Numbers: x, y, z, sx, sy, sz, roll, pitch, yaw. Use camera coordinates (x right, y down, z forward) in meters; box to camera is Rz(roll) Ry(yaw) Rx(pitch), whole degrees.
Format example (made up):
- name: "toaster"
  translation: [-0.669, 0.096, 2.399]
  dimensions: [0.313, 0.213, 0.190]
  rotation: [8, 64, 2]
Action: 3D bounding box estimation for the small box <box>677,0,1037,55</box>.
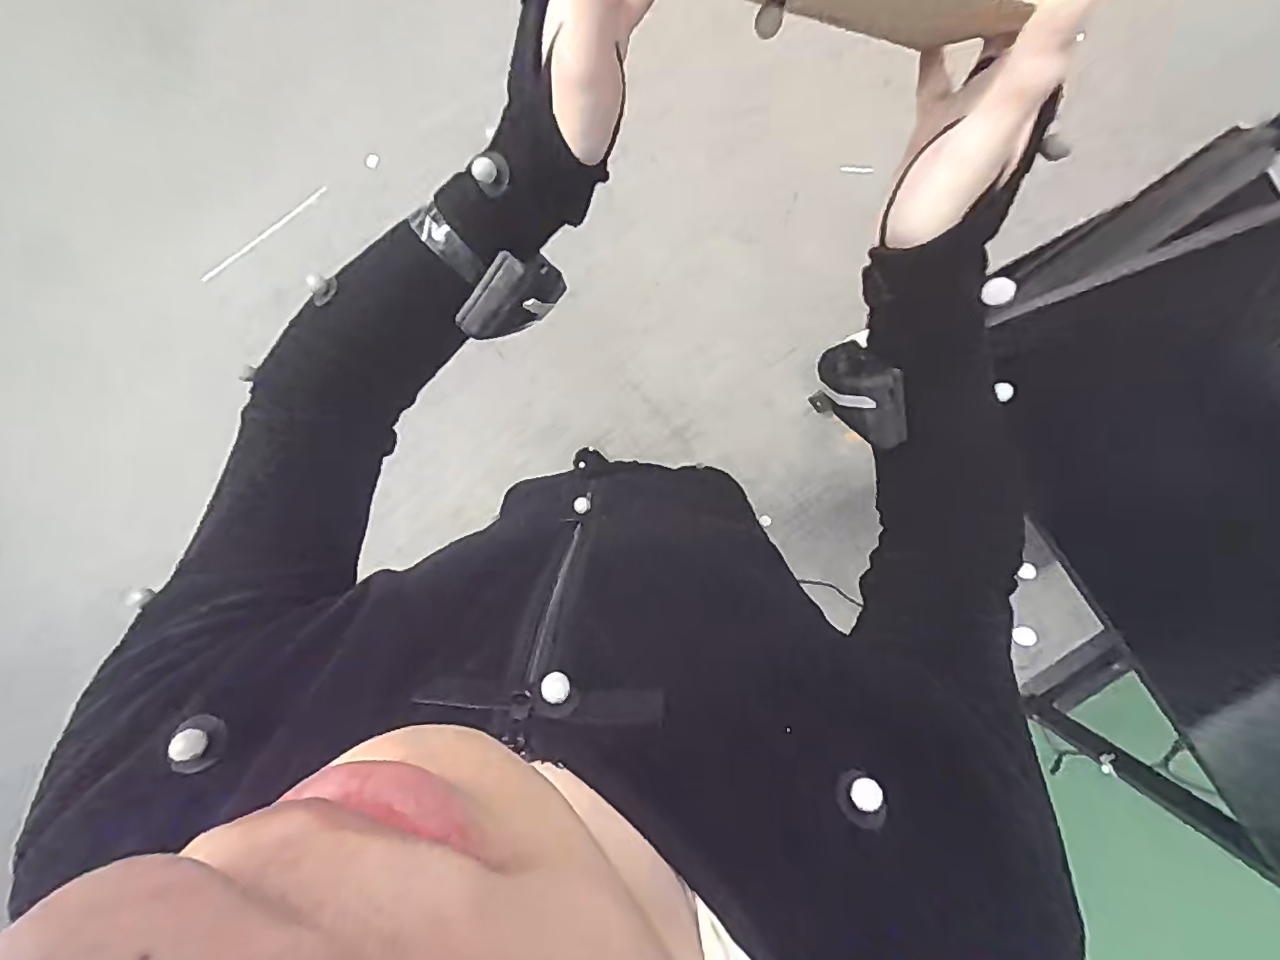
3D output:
- name: "small box"
  translation: [0.097, -0.309, 0.224]
  dimensions: [0.168, 0.176, 0.179]
  rotation: [14, 125, -1]
